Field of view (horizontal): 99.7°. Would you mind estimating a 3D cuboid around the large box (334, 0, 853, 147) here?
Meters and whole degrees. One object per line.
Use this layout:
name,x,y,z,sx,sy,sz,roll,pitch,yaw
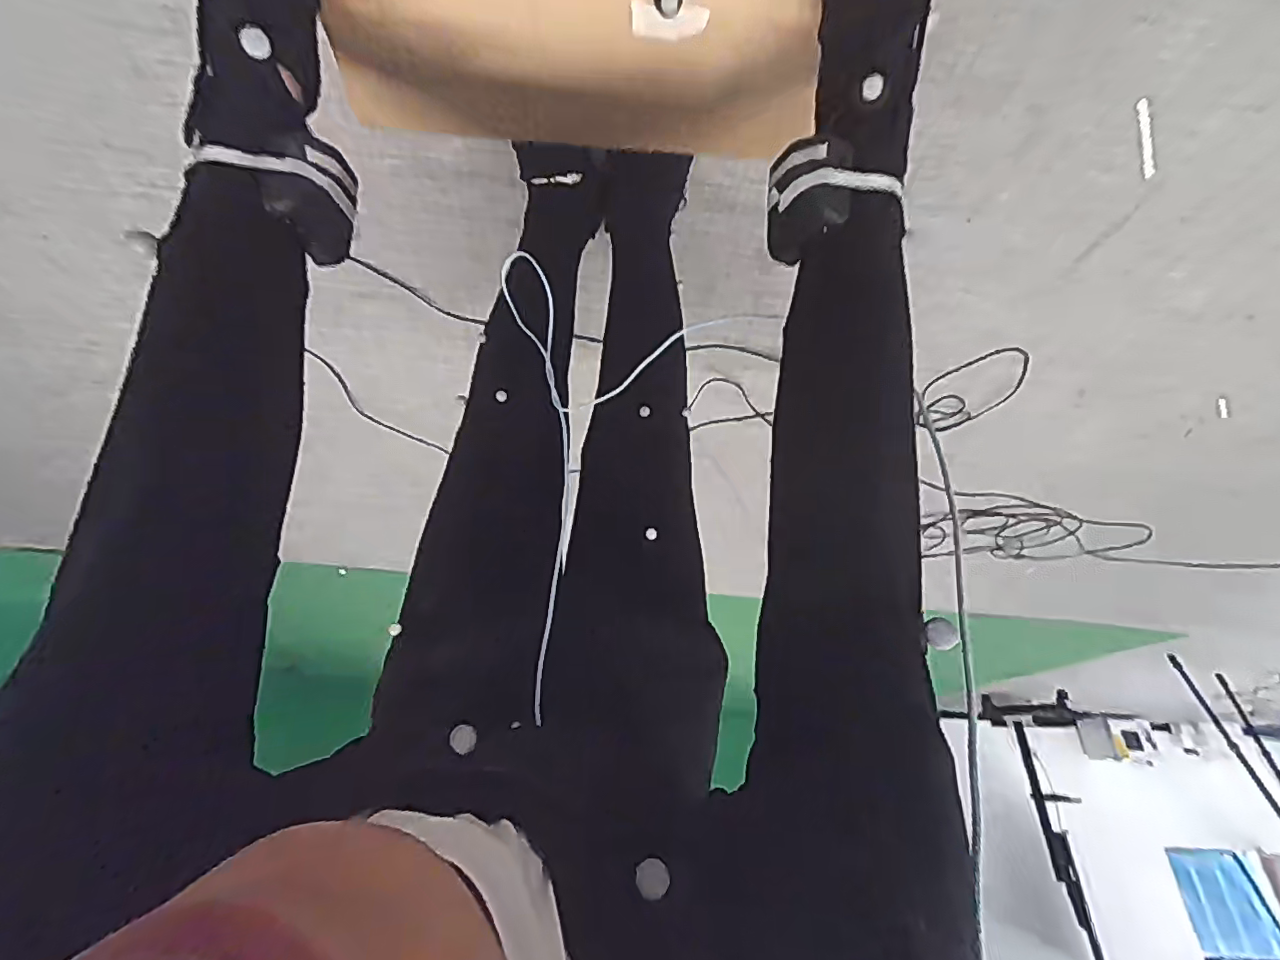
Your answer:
large box,-0.031,-0.521,0.443,0.408,0.320,0.320,3,148,-2
